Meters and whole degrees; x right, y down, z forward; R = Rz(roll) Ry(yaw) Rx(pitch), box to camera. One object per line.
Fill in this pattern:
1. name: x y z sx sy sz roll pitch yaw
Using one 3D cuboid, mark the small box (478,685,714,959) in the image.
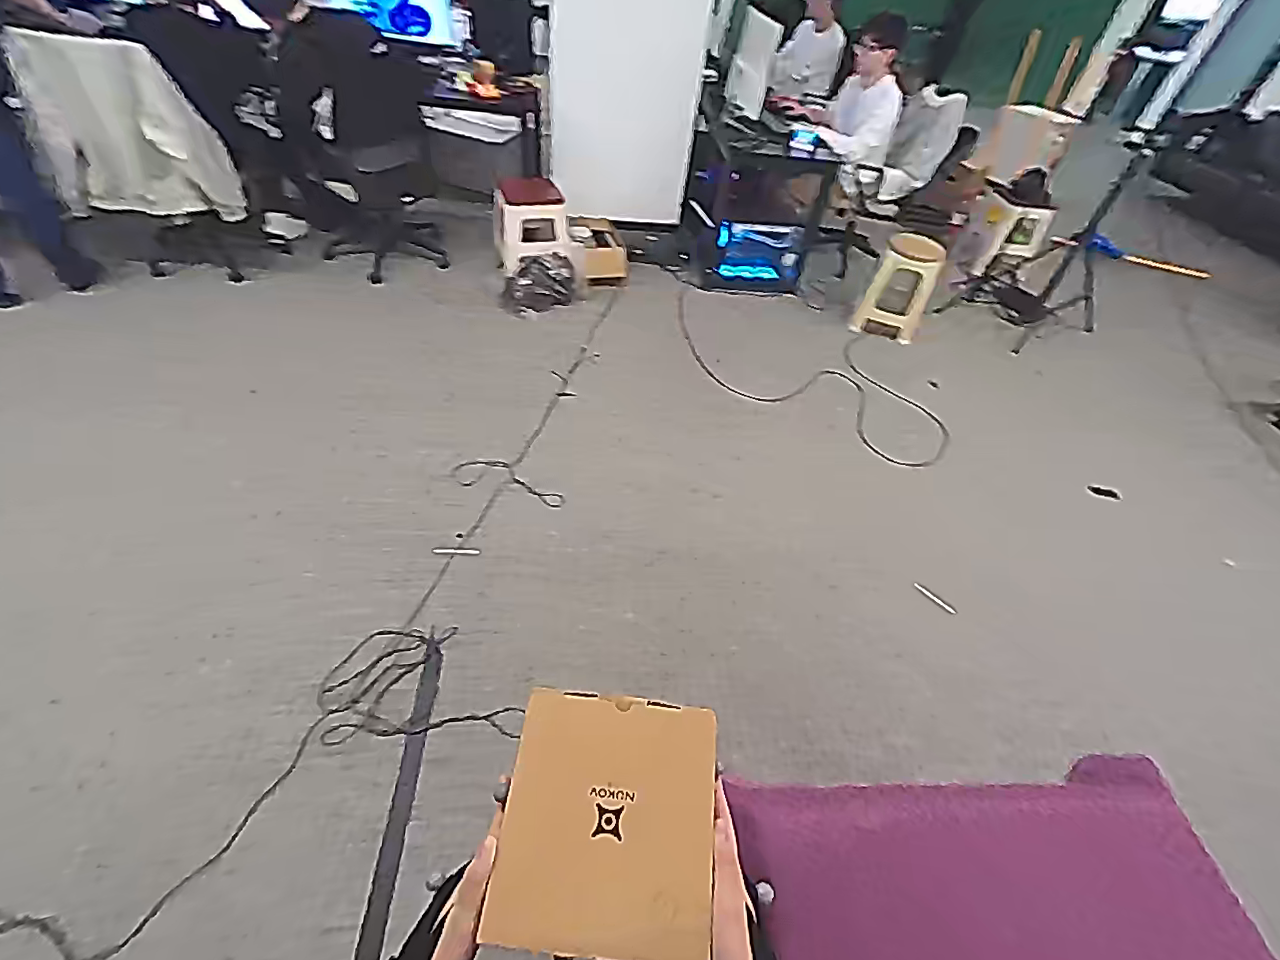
1. small box: -0.030 0.305 0.486 0.168 0.176 0.179 7 52 -1
